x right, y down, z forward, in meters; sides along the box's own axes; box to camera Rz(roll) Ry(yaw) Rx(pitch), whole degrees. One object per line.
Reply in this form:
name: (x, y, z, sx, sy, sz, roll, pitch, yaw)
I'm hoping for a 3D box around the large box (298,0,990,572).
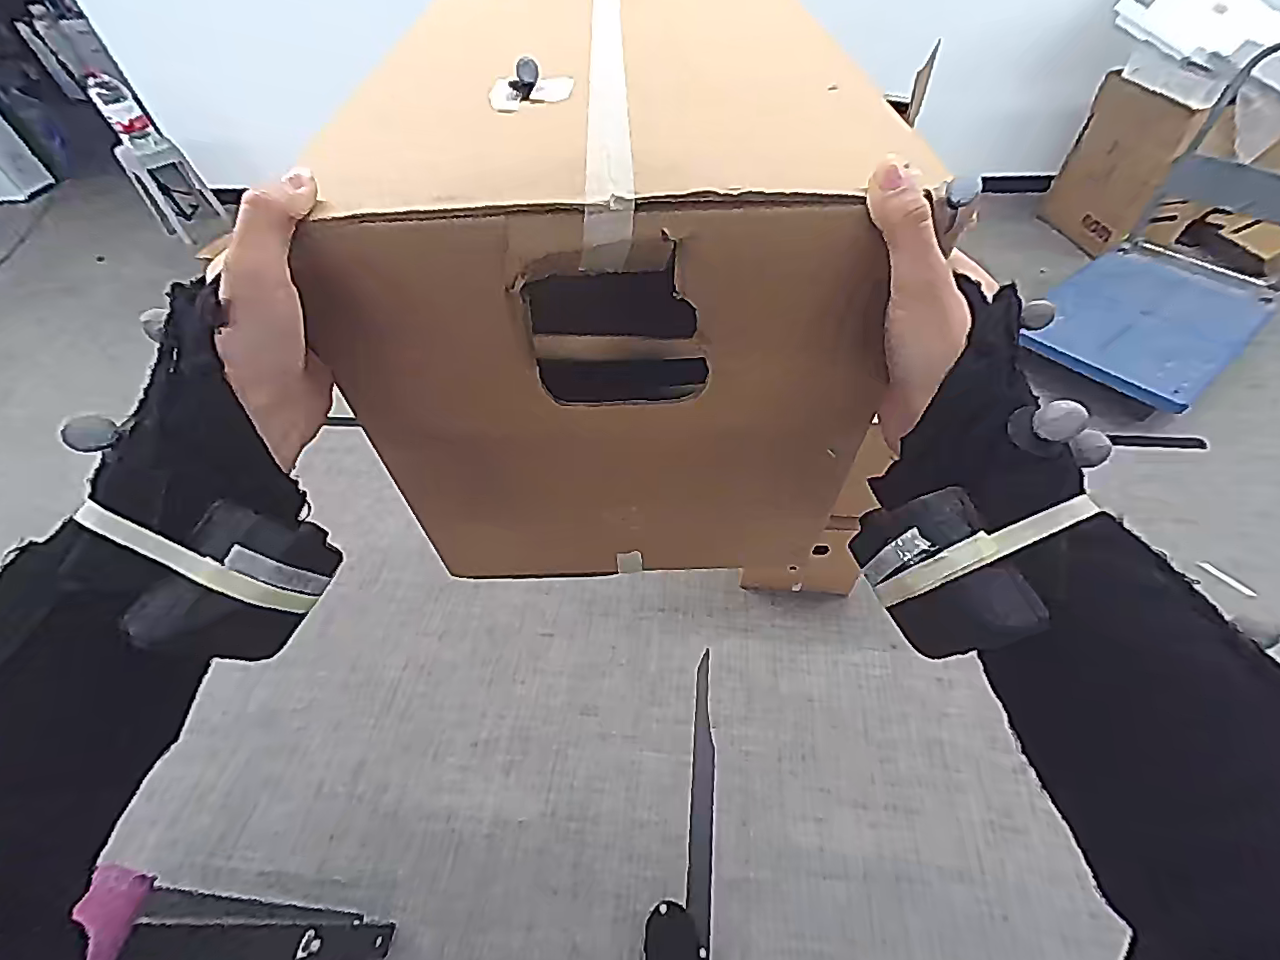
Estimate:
large box: (-0.007, -0.173, 0.471, 0.320, 0.320, 0.408, -4, 52, 0)
